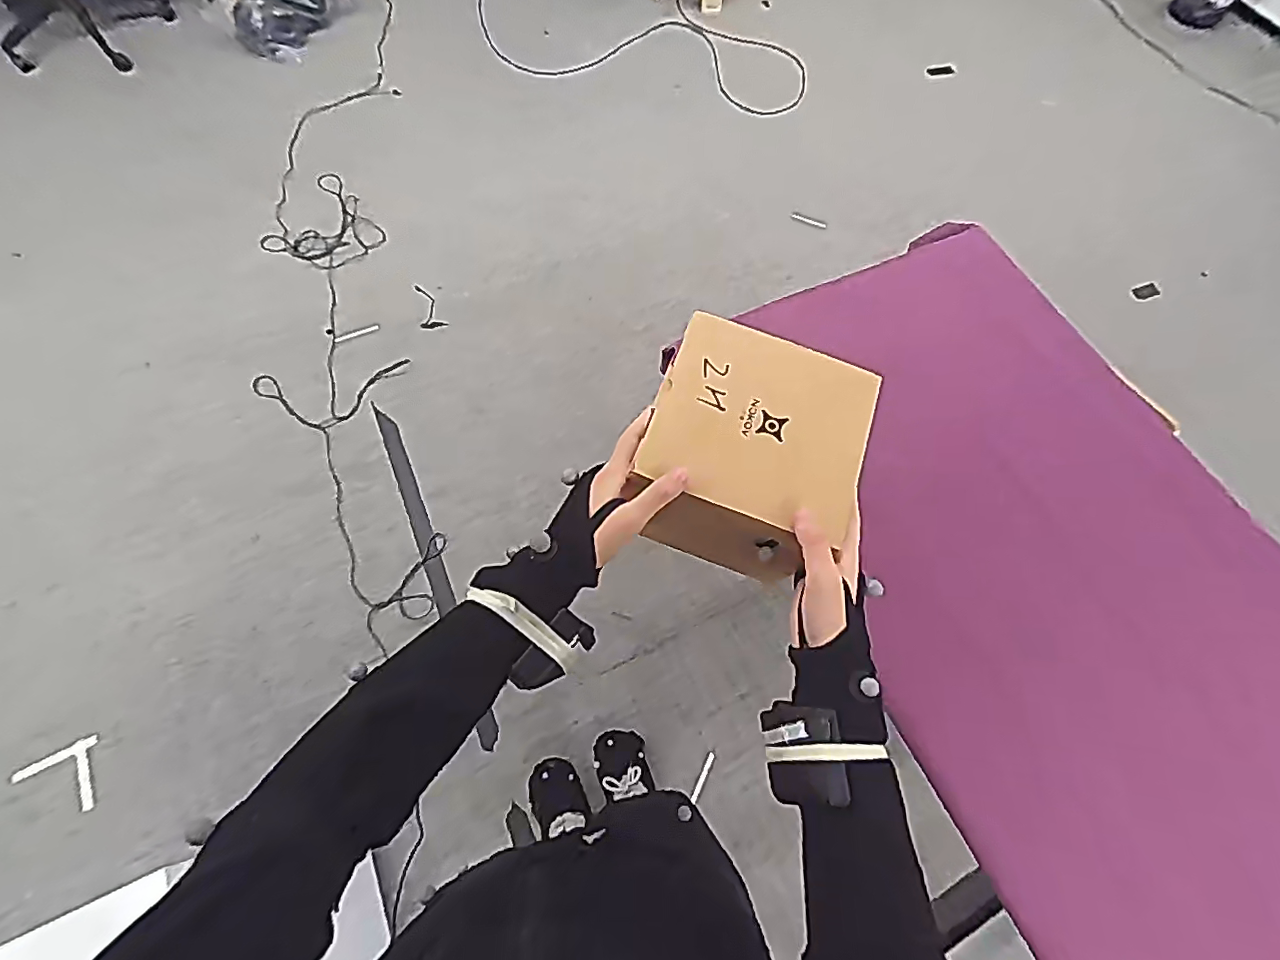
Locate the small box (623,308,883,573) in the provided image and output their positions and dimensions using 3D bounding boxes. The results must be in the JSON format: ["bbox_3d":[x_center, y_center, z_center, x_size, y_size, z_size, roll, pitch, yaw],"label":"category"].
[{"bbox_3d":[0.093,-0.022,0.511,0.179,0.176,0.168,20,69,3],"label":"small box"}]
